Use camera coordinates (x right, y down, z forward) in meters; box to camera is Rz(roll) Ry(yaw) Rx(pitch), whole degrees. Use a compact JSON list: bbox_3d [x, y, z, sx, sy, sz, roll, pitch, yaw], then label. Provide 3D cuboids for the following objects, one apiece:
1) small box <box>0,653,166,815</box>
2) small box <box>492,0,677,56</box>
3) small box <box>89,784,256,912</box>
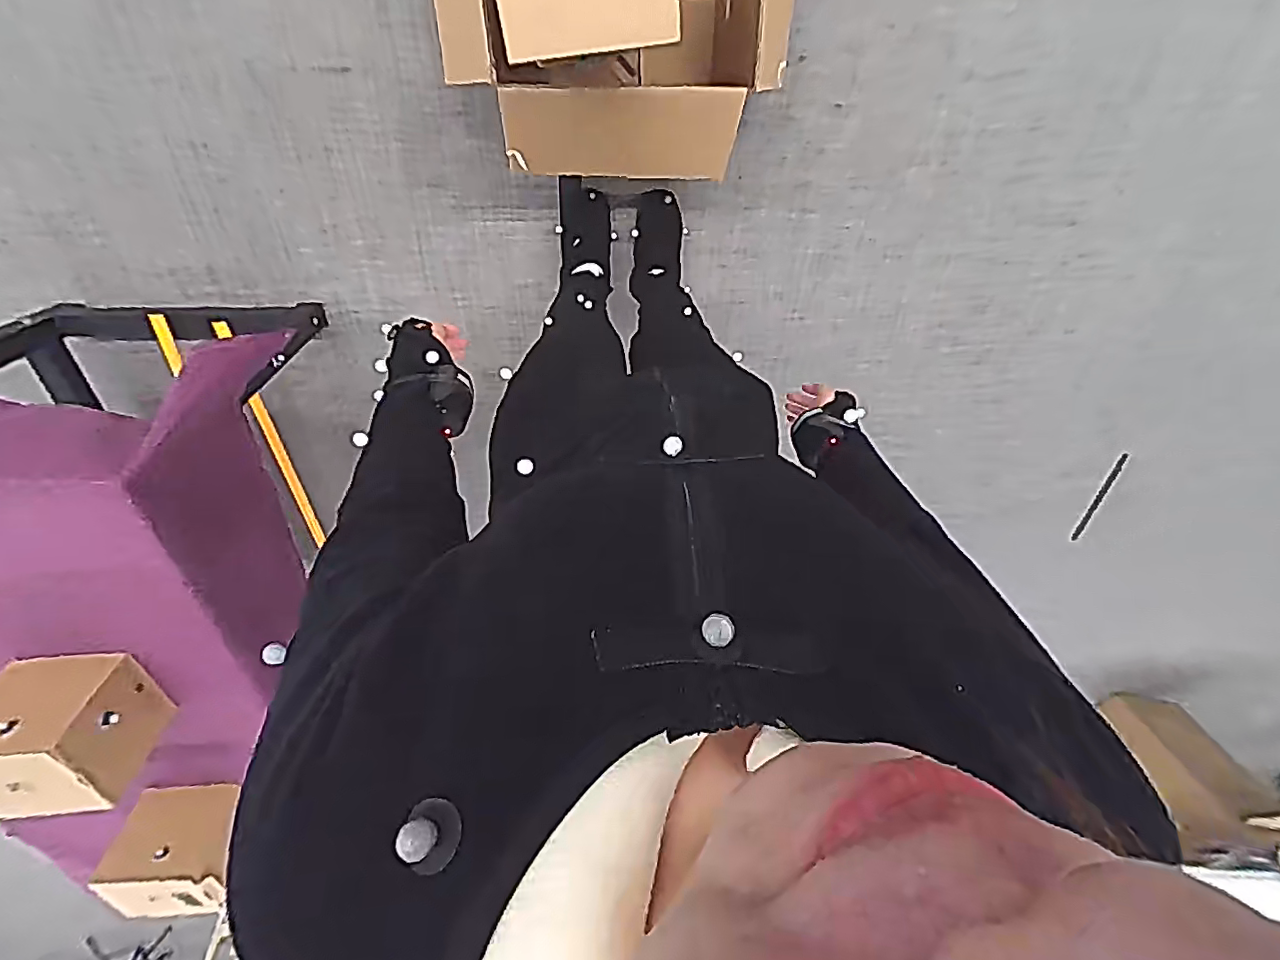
[{"bbox_3d":[-0.890,0.384,0.833,0.179,0.176,0.168,-2,126,-5],"label":"small box"},{"bbox_3d":[-0.066,-0.535,0.541,0.179,0.176,0.168,-10,131,-4],"label":"small box"},{"bbox_3d":[-0.908,0.728,1.080,0.179,0.176,0.168,1,125,-7],"label":"small box"}]
